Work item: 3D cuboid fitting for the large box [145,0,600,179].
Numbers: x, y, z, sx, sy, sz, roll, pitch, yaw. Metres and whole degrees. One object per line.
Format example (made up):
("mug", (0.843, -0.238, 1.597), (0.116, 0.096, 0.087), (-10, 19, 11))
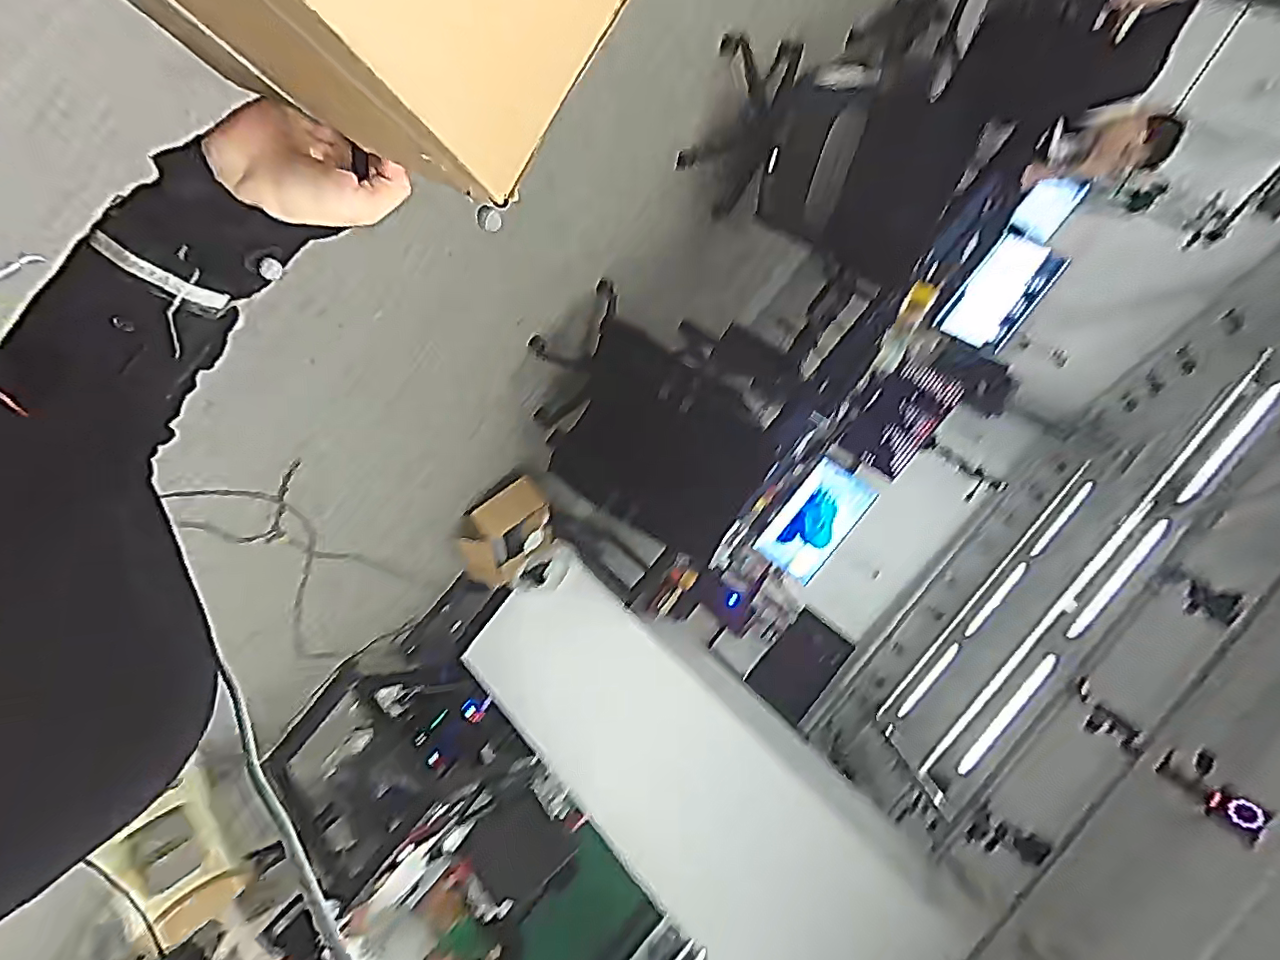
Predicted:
("large box", (-0.178, -0.369, 0.117), (0.320, 0.320, 0.408), (-57, 157, 7))
